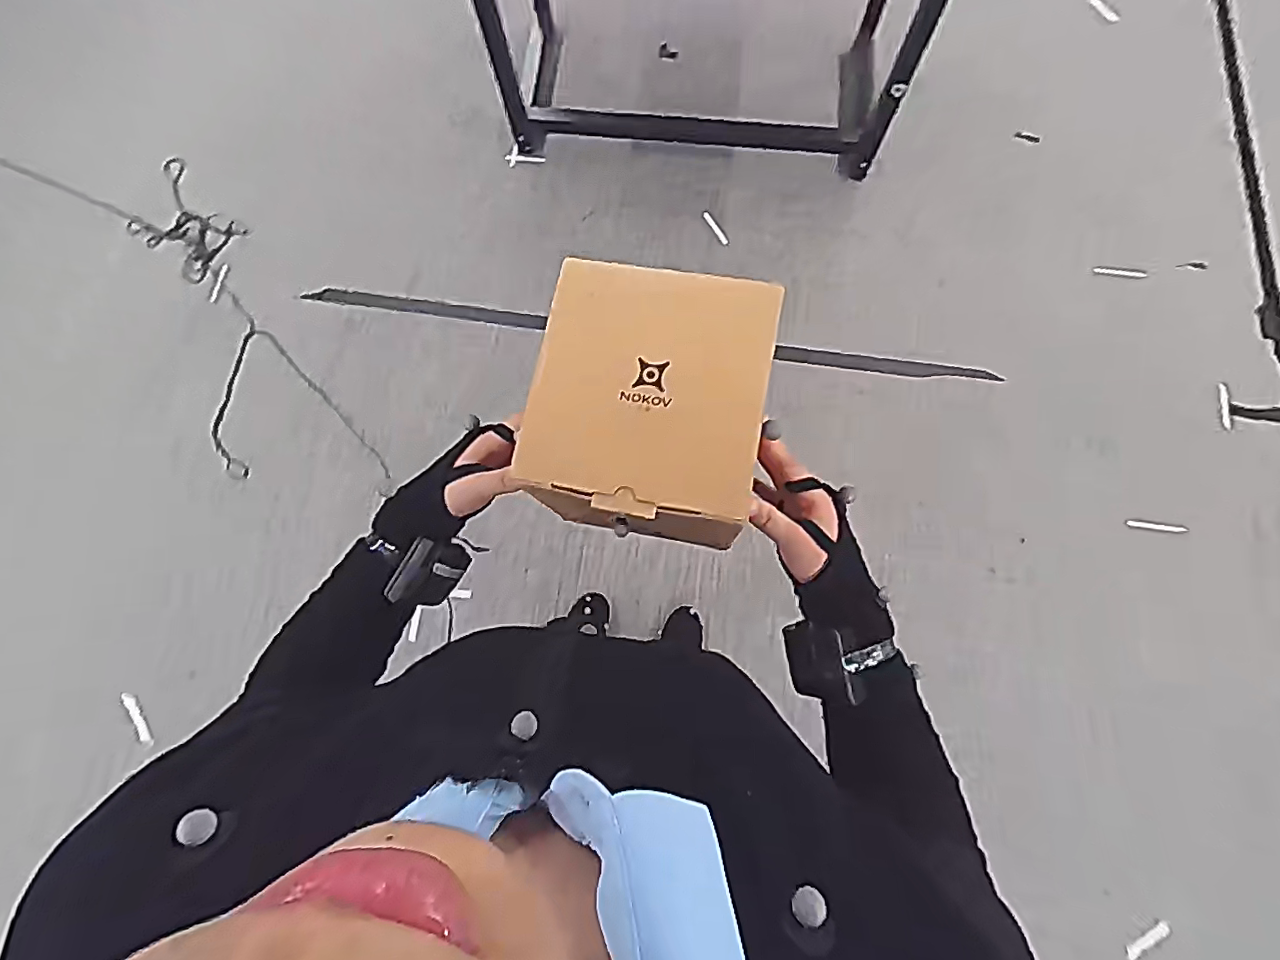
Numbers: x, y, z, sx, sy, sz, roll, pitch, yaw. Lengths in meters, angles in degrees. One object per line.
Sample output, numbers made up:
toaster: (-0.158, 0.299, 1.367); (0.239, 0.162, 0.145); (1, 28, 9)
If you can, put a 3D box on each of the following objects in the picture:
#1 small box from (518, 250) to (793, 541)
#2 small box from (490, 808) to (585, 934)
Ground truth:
small box: (0.018, -0.055, 0.447); (0.168, 0.176, 0.179); (9, 79, 7)
small box: (-0.231, 0.907, 1.273); (0.168, 0.176, 0.179); (11, 77, 5)
